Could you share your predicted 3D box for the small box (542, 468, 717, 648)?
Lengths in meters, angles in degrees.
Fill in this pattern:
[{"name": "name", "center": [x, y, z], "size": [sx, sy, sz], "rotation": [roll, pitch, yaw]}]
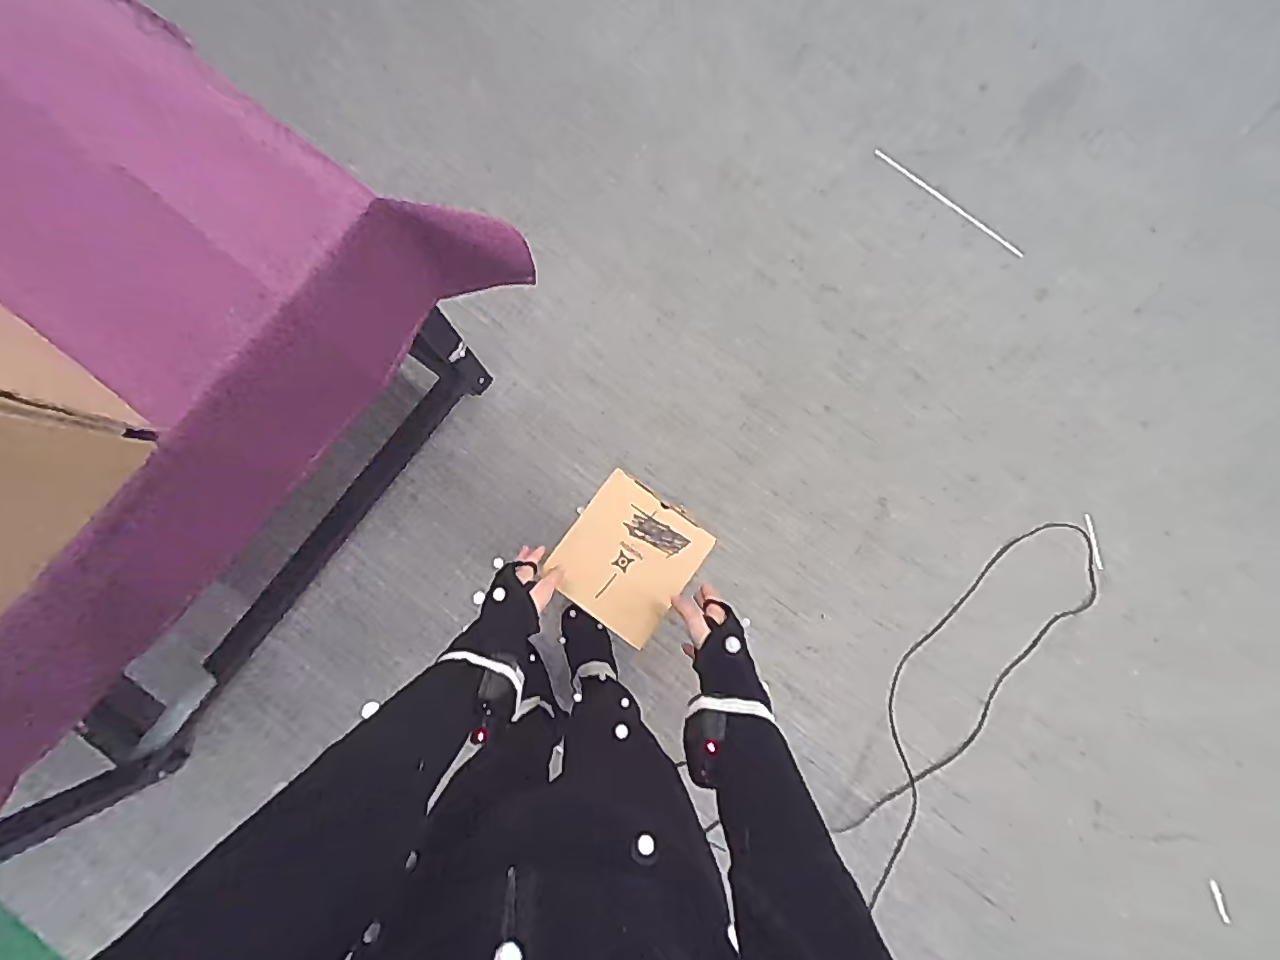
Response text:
[{"name": "small box", "center": [-0.016, 0.108, 0.777], "size": [0.168, 0.176, 0.179], "rotation": [36, 84, 4]}]
